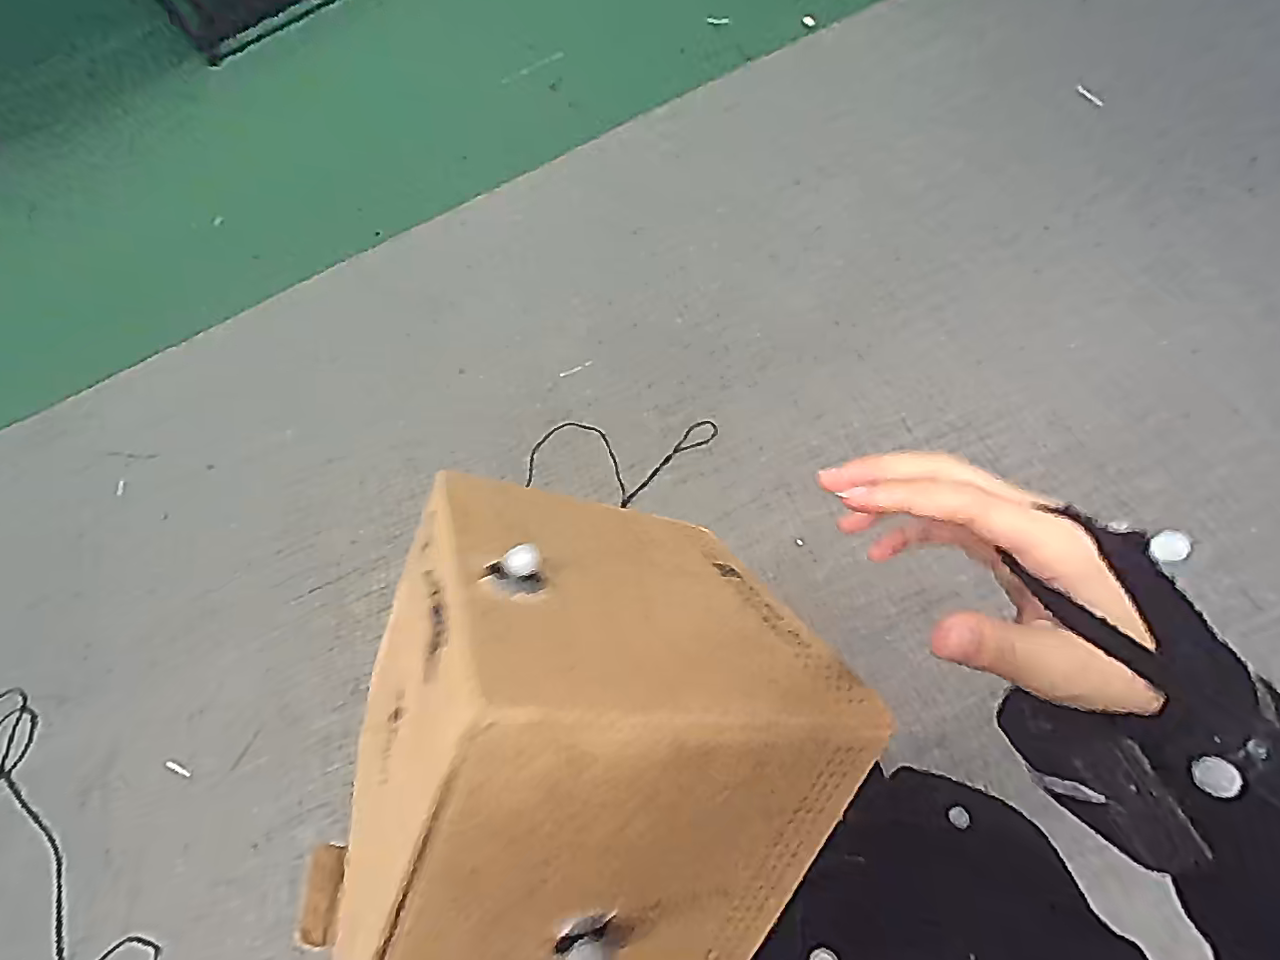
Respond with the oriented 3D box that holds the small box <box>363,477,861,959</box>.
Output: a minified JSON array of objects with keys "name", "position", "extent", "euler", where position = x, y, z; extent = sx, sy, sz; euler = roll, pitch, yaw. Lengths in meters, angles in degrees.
[{"name":"small box","position":[-0.027,0.123,0.272],"extent":[0.168,0.176,0.179],"euler":[44,115,58]}]
